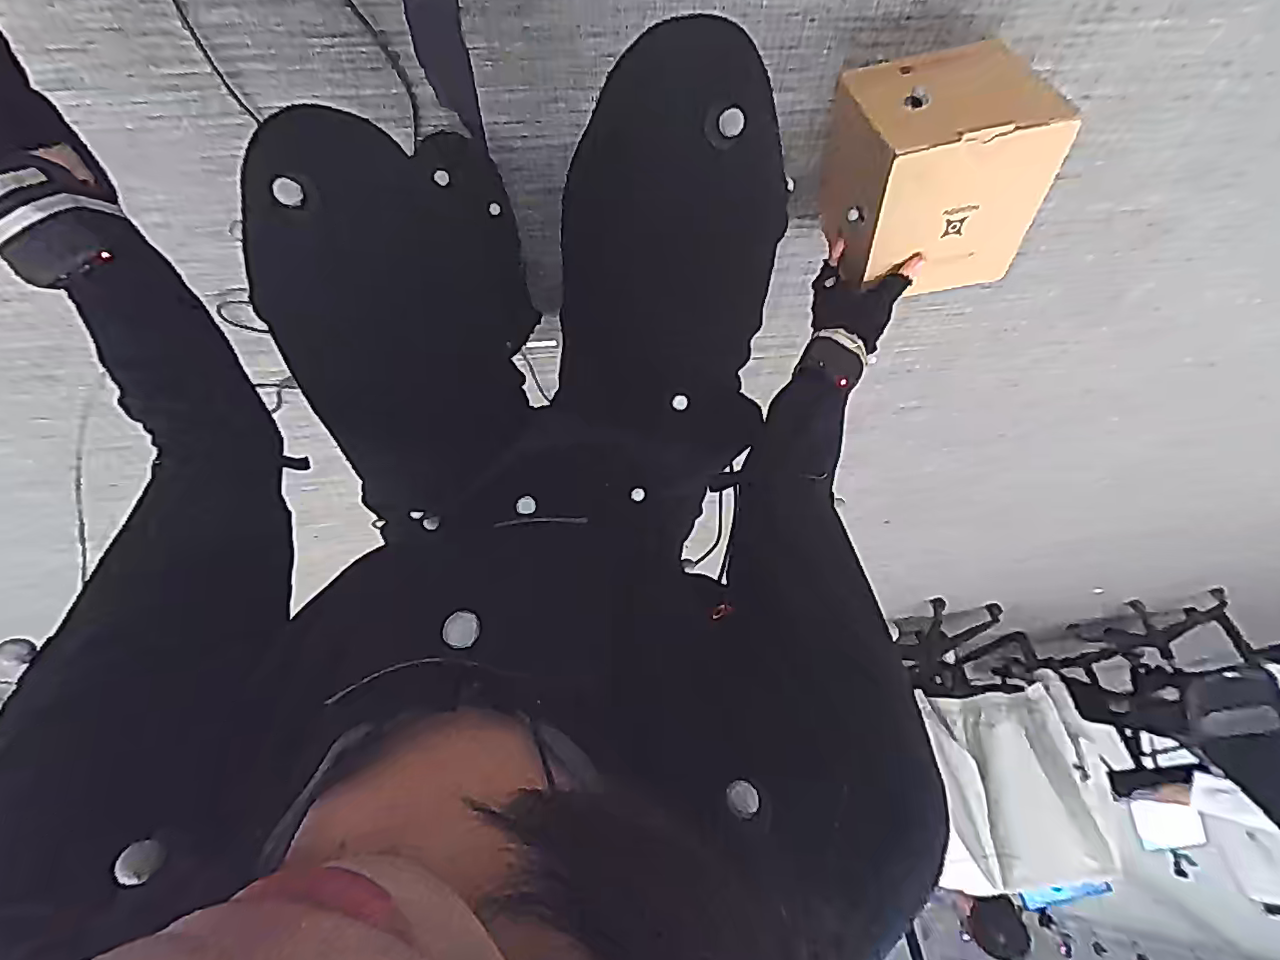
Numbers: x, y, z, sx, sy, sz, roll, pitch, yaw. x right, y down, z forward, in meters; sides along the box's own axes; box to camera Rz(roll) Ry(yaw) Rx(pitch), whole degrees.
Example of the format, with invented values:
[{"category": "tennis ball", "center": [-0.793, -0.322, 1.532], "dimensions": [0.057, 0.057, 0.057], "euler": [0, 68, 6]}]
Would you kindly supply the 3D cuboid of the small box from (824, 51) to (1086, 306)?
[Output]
[{"category": "small box", "center": [0.310, -0.324, 0.584], "dimensions": [0.168, 0.176, 0.179], "euler": [-9, 148, 5]}]
